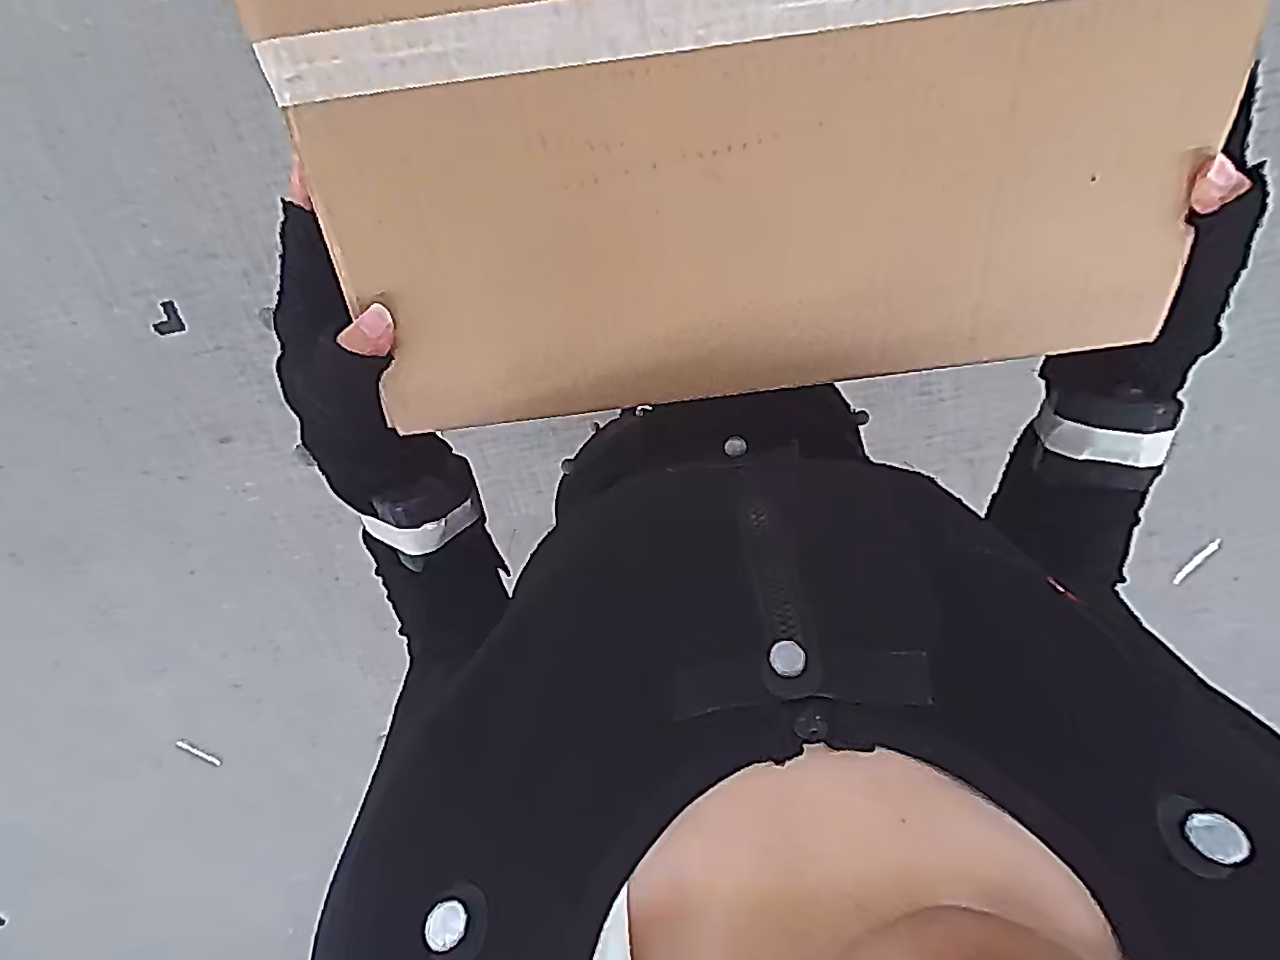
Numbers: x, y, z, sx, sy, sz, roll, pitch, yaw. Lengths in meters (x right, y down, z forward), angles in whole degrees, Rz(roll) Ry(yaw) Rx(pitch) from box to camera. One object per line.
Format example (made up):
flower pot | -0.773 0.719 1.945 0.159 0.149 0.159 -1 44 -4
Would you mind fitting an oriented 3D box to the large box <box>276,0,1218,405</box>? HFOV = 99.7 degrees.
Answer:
large box | 0.041 -0.268 0.361 0.408 0.320 0.320 -7 118 0
